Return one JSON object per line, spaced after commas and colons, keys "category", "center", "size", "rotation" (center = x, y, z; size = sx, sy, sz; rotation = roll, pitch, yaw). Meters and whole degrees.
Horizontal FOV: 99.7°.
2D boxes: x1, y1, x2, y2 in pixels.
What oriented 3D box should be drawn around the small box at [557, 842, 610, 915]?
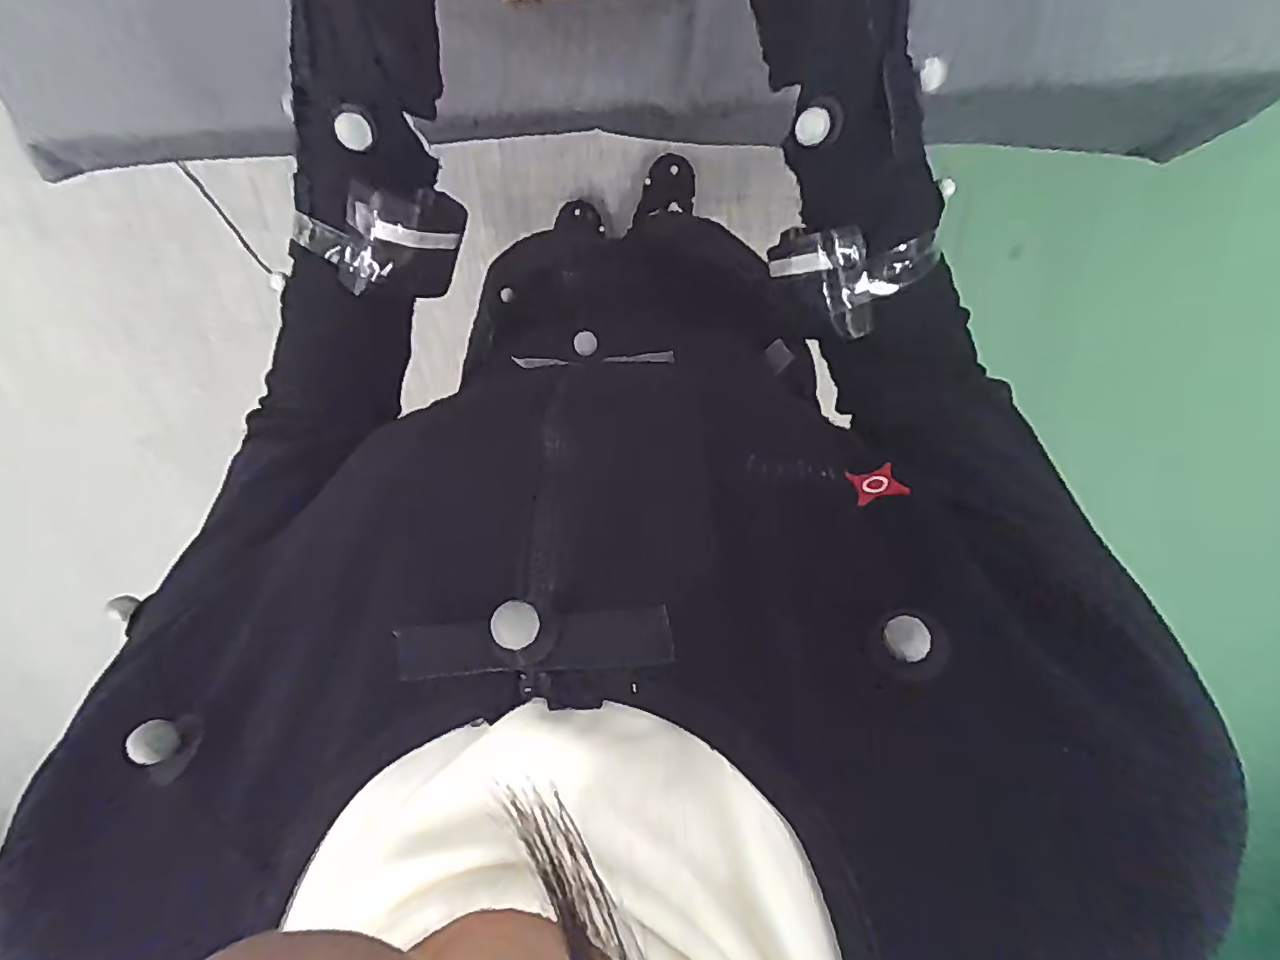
{"category": "small box", "center": [-0.207, 1.485, 2.019], "size": [0.179, 0.176, 0.168], "rotation": [-3, 121, 0]}
